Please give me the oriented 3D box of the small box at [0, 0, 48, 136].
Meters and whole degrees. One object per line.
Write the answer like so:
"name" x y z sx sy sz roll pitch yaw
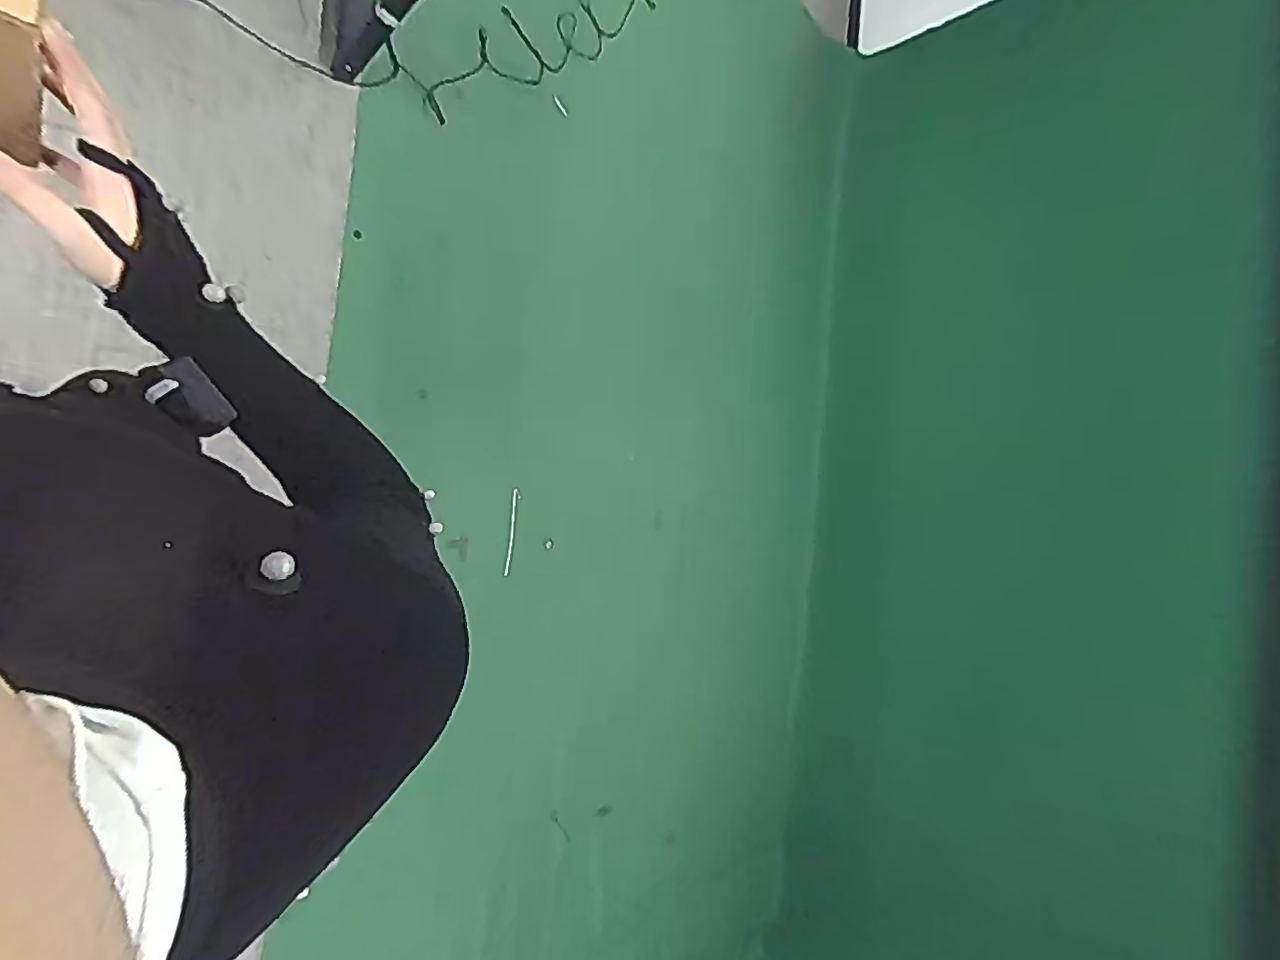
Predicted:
"small box" -0.466 -0.342 0.304 0.179 0.176 0.168 4 81 -49
